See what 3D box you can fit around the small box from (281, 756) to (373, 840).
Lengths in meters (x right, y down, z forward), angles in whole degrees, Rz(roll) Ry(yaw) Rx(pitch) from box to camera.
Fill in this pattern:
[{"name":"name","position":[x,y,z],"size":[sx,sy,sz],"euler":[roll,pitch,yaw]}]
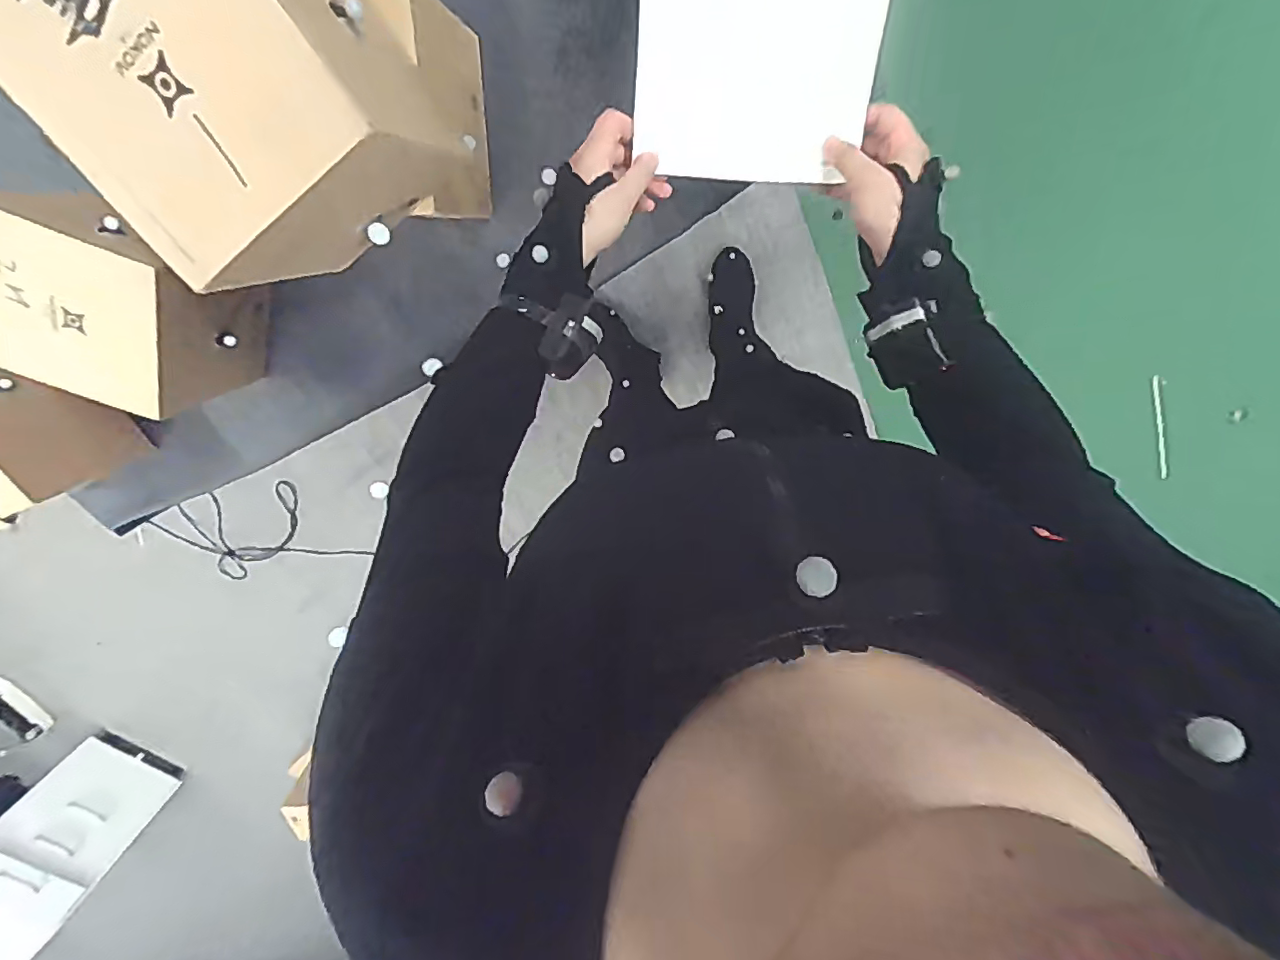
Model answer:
[{"name":"small box","position":[-0.968,0.993,1.696],"size":[0.179,0.176,0.168],"euler":[-5,116,3]}]

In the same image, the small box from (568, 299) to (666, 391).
[{"name":"small box","position":[-0.055,-0.316,1.299],"size":[0.176,0.168,0.179],"euler":[5,94,-31]}]

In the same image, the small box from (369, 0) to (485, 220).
[{"name":"small box","position":[-0.254,-0.340,0.505],"size":[0.179,0.176,0.168],"euler":[3,116,3]}]

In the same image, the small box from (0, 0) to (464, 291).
[{"name":"small box","position":[-0.256,-0.255,0.363],"size":[0.168,0.176,0.179],"euler":[-28,111,17]}]

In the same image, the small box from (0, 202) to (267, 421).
[{"name":"small box","position":[-0.552,-0.193,0.596],"size":[0.179,0.176,0.168],"euler":[21,115,-7]}]
